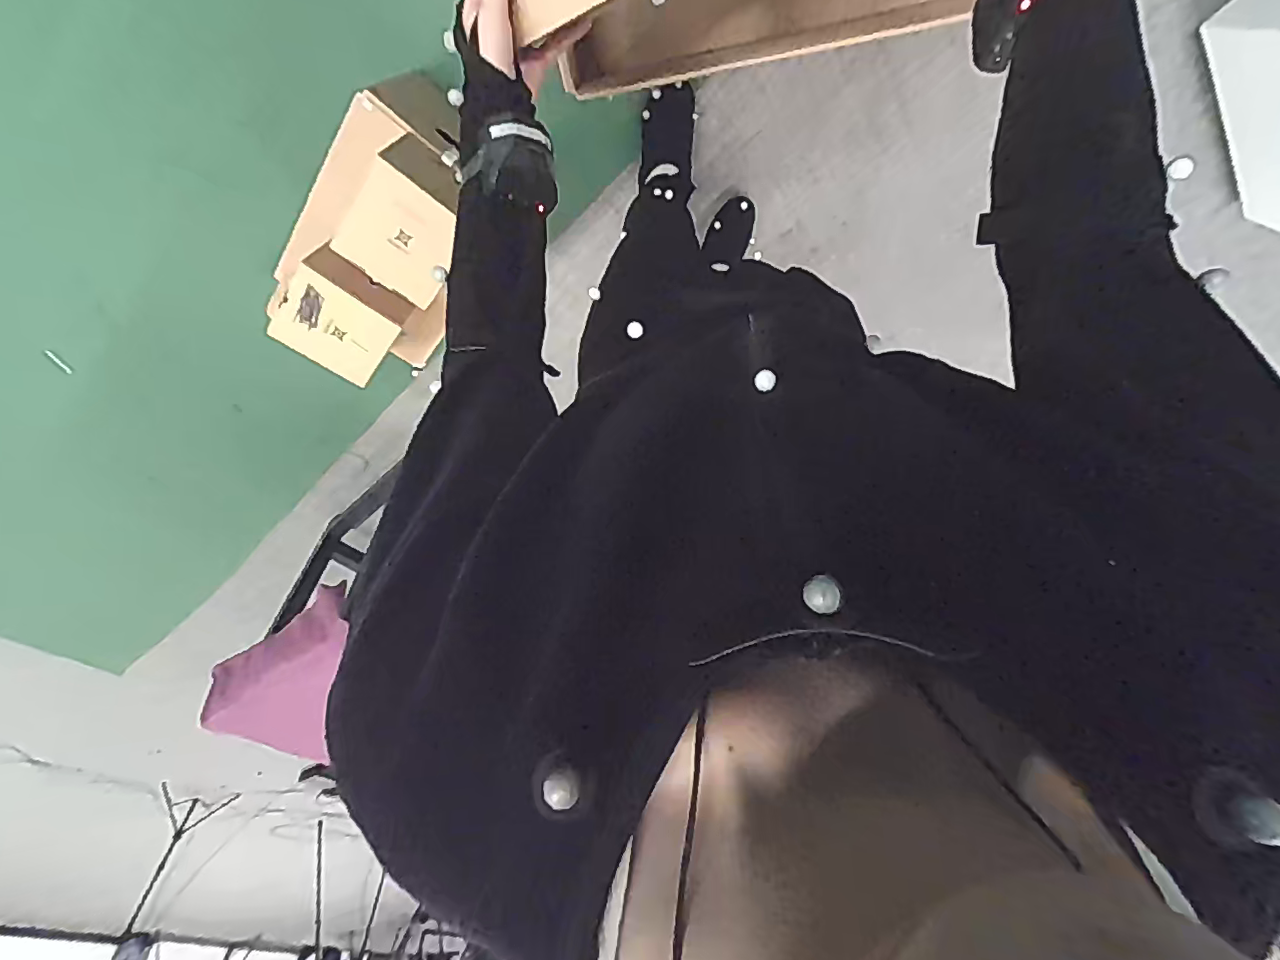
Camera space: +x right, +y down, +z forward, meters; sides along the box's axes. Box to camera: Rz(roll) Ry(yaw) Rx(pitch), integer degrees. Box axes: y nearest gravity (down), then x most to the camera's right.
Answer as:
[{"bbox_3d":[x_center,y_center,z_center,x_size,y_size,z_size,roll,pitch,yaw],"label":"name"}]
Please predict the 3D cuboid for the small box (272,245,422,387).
[{"bbox_3d":[-0.527,-0.314,1.003,0.179,0.176,0.168,34,122,-27],"label":"small box"}]

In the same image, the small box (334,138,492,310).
[{"bbox_3d":[-0.368,-0.429,0.907,0.168,0.176,0.179,33,122,-28],"label":"small box"}]

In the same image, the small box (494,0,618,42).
[{"bbox_3d":[-0.030,-0.476,0.407,0.179,0.176,0.168,4,136,33],"label":"small box"}]
